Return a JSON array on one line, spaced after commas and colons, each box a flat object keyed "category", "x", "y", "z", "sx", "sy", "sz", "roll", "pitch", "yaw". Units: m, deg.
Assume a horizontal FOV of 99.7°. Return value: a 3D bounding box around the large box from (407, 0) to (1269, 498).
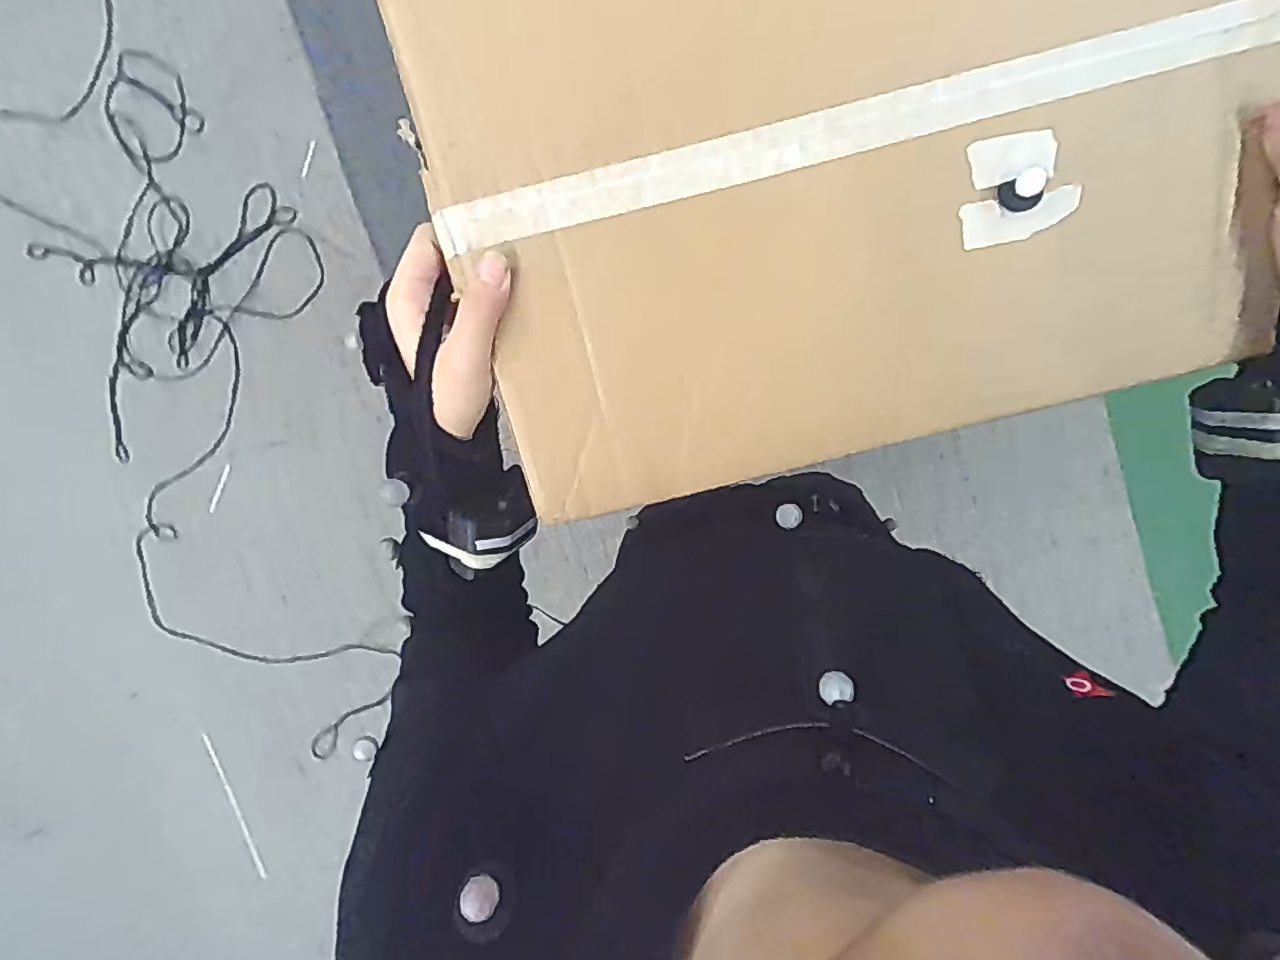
[{"category": "large box", "x": 0.099, "y": -0.216, "z": 0.408, "sx": 0.408, "sy": 0.320, "sz": 0.320, "roll": -14, "pitch": 106, "yaw": 0}]
